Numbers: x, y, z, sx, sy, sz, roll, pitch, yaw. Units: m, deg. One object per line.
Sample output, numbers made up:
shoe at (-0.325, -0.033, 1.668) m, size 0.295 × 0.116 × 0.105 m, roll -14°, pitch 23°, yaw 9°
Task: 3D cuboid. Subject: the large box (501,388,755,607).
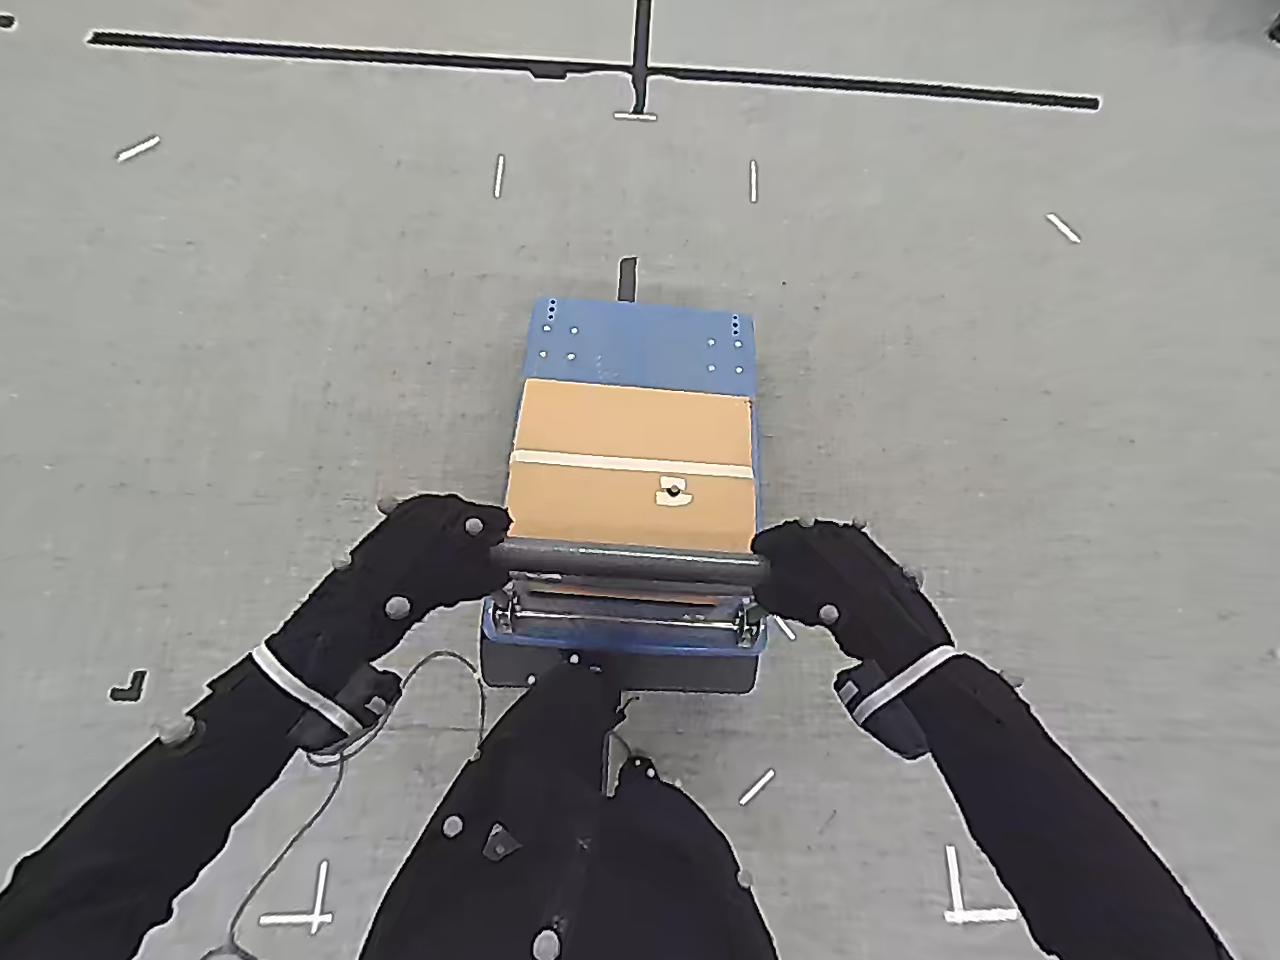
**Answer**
large box at (-0.024, 0.050, 1.030) m, size 0.408 × 0.320 × 0.320 m, roll 5°, pitch 66°, yaw -3°
